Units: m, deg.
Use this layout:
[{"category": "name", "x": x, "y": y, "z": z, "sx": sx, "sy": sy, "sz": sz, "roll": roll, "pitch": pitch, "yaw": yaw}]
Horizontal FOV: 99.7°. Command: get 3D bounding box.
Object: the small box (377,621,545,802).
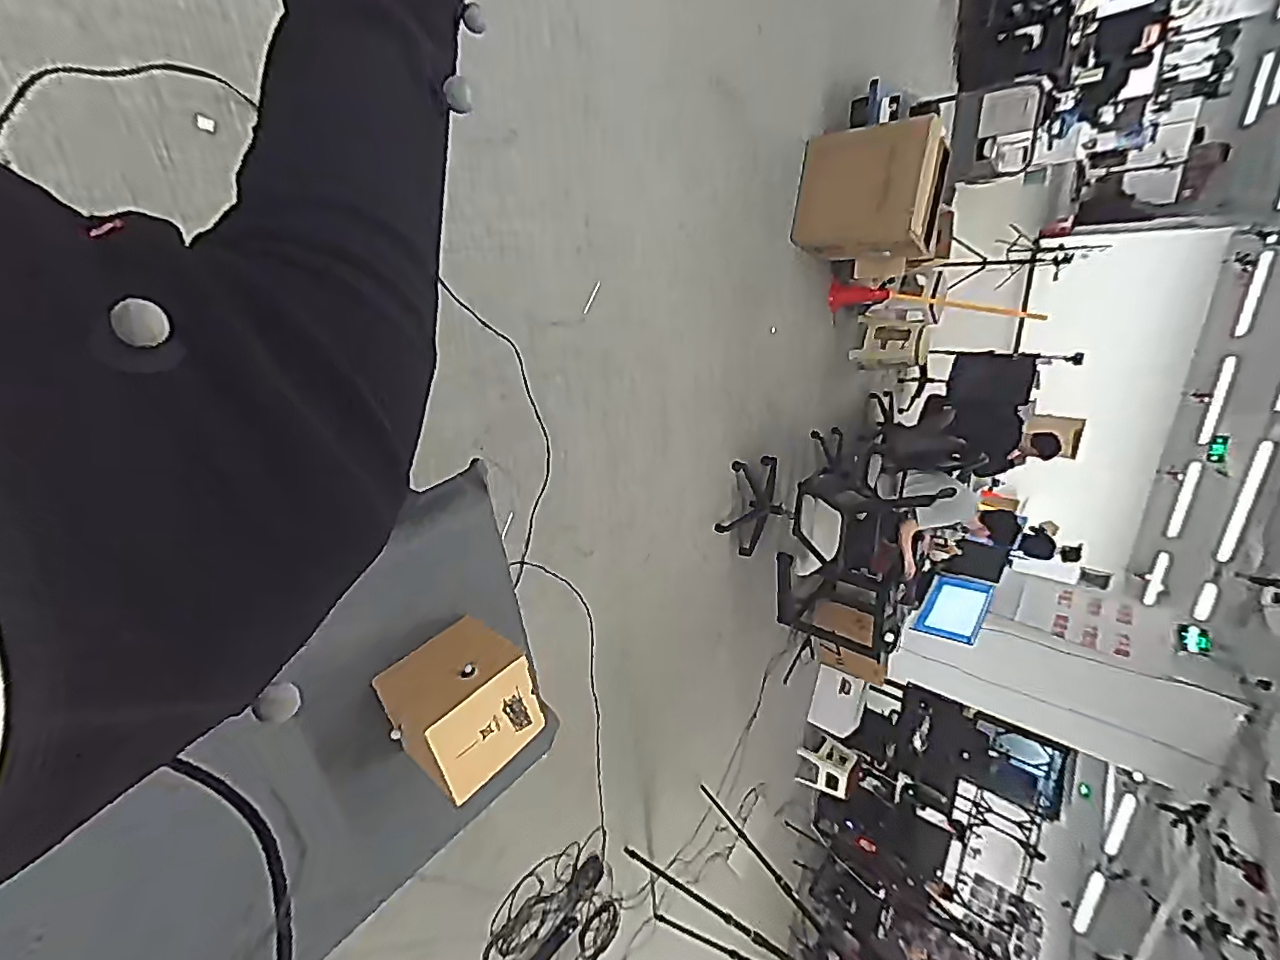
[{"category": "small box", "x": -0.286, "y": 0.359, "z": 0.876, "sx": 0.179, "sy": 0.176, "sz": 0.168, "roll": -33, "pitch": 125, "yaw": -39}]
